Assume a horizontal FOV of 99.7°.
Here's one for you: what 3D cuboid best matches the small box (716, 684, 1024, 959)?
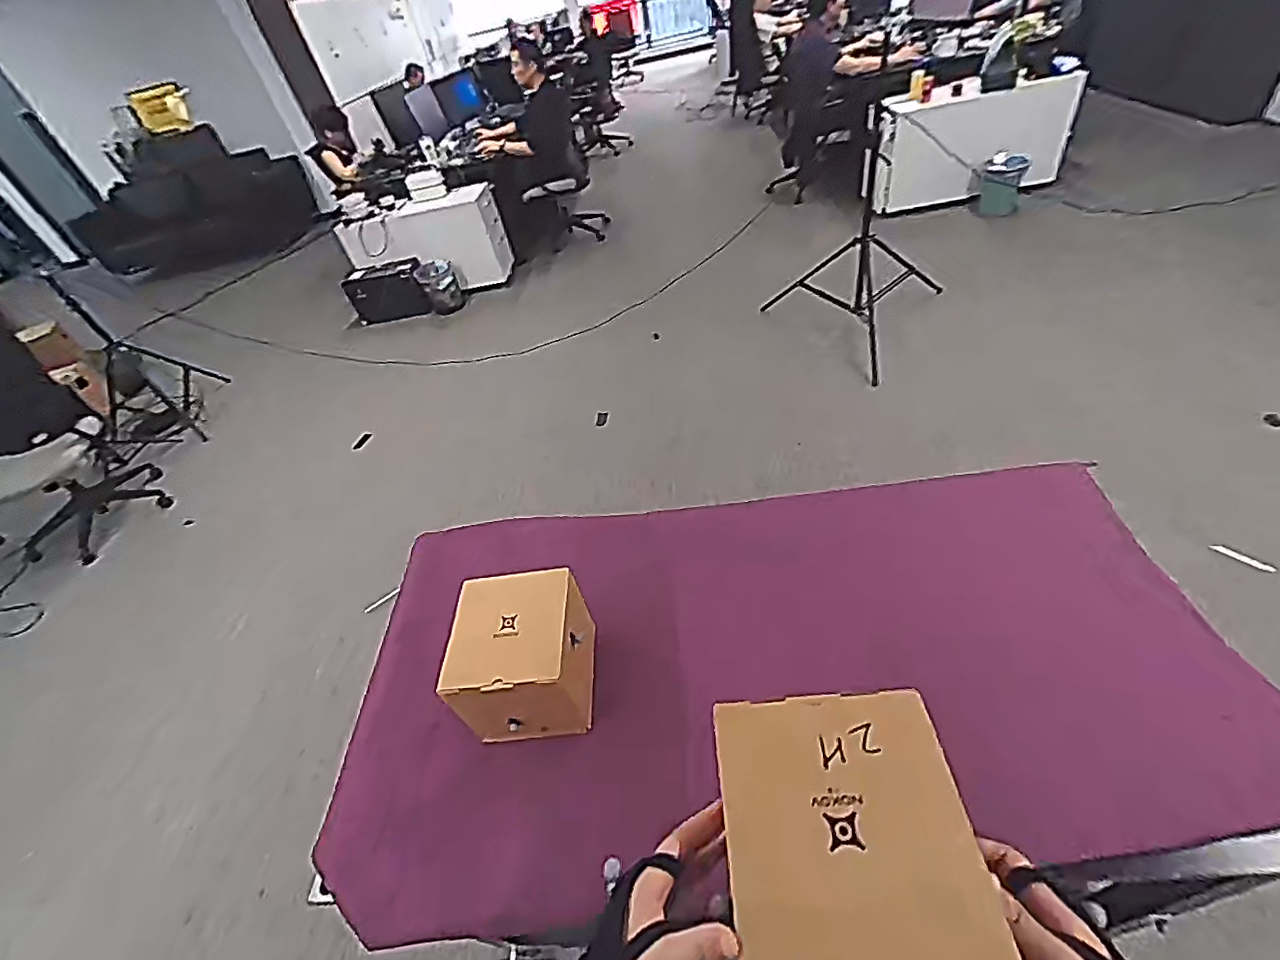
[{"bbox_3d":[0.156,0.289,0.432,0.168,0.176,0.179,-7,43,6],"label":"small box"}]

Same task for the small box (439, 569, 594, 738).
[{"bbox_3d":[-0.168,0.258,0.800,0.168,0.176,0.179,-8,45,6],"label":"small box"}]
